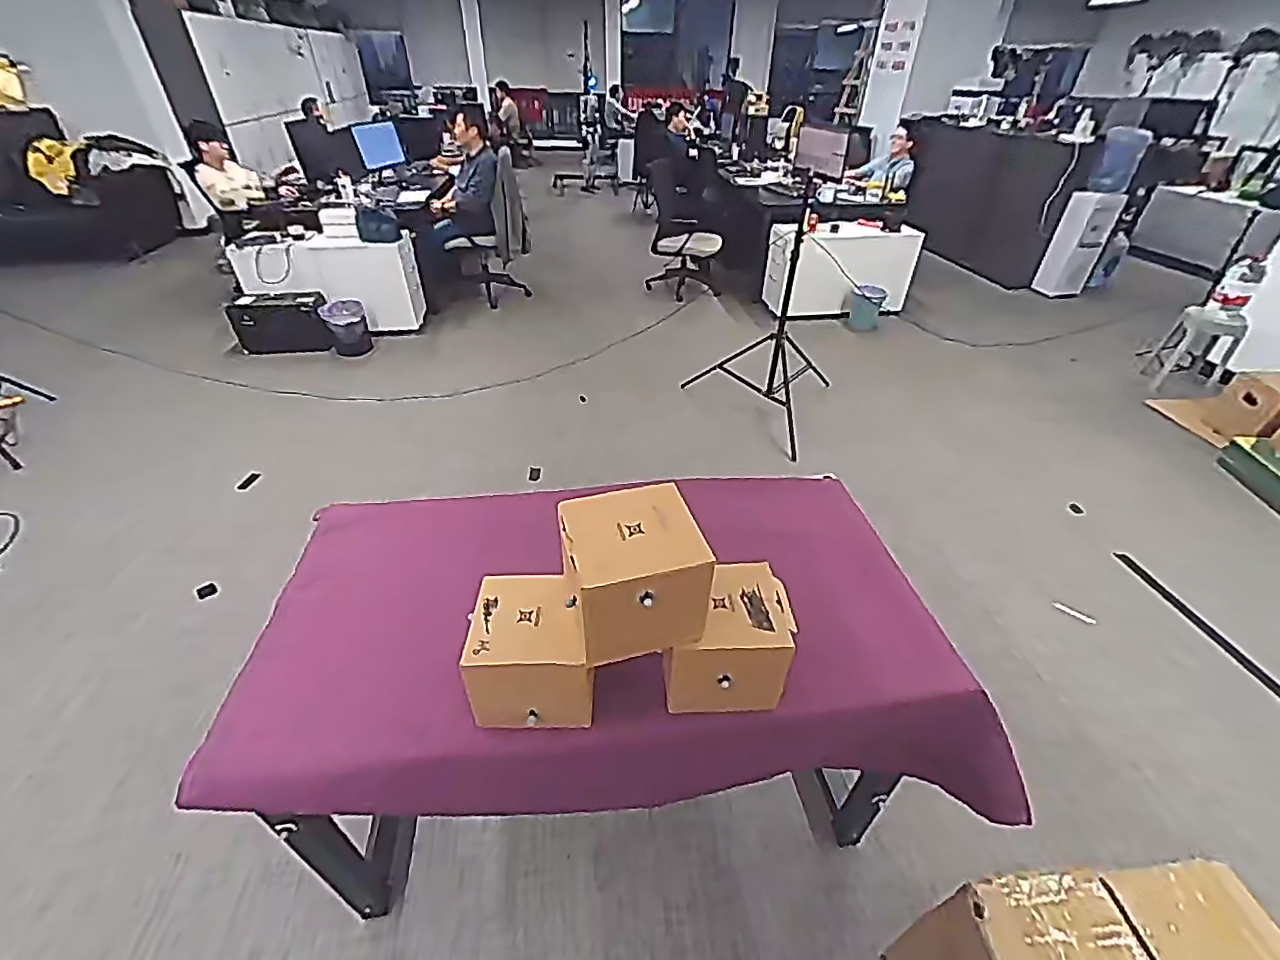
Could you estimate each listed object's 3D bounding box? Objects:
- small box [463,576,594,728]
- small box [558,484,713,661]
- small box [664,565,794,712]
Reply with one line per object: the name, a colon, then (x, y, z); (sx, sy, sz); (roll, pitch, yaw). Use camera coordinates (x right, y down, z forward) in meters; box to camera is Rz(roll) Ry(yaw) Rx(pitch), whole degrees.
small box: (-0.160, 0.271, 0.851); (0.179, 0.176, 0.168); (1, 36, -2)
small box: (-0.011, 0.131, 0.769); (0.179, 0.176, 0.168); (-9, 40, -14)
small box: (0.130, 0.256, 0.875); (0.179, 0.176, 0.168); (-1, 36, -2)
